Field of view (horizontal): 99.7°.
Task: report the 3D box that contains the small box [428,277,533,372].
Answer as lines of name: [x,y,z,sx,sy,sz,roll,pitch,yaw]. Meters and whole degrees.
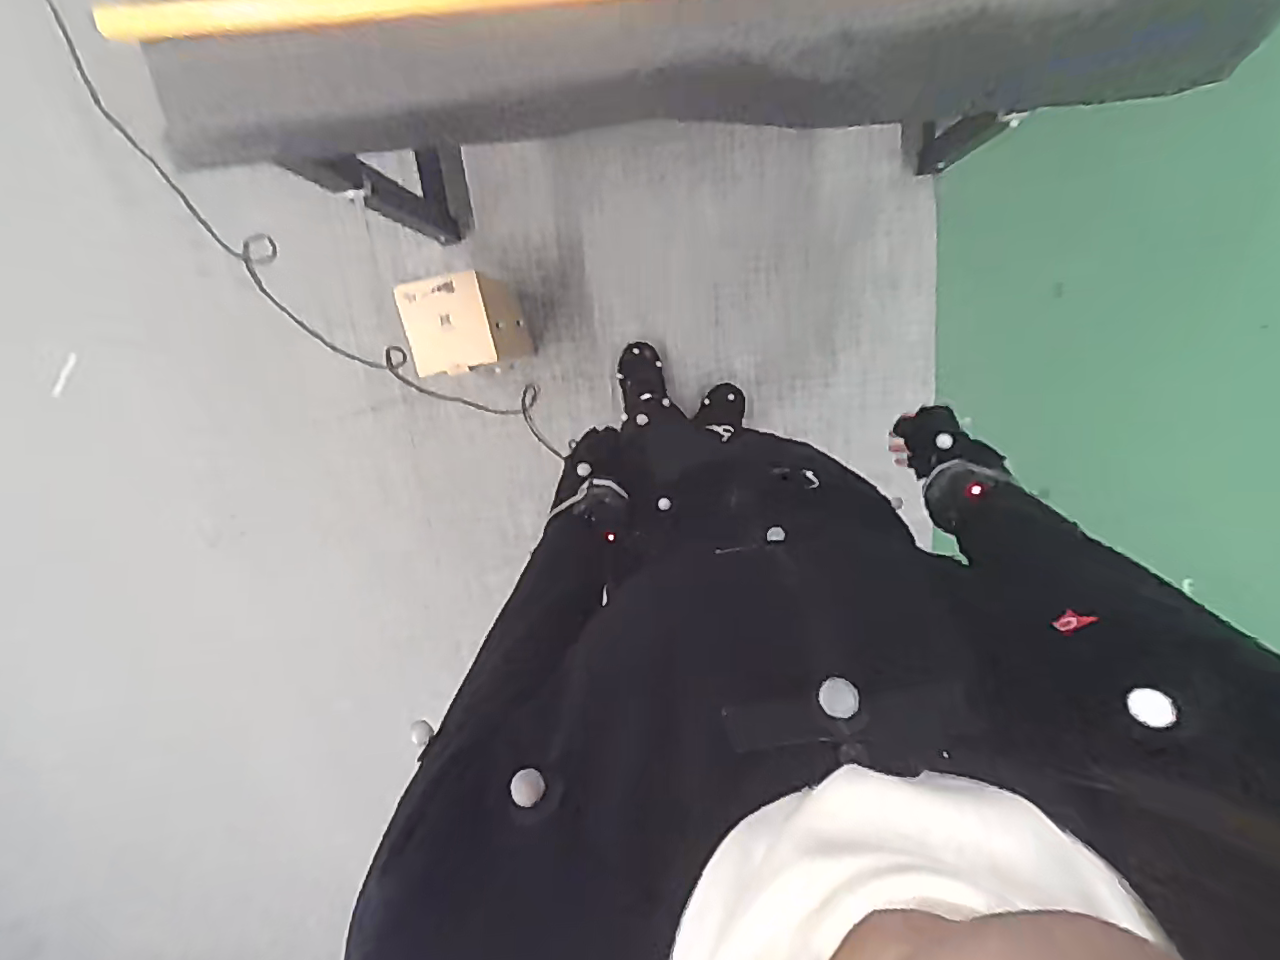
small box: [-0.367,-0.361,1.276,0.168,0.176,0.179,-13,103,5]
